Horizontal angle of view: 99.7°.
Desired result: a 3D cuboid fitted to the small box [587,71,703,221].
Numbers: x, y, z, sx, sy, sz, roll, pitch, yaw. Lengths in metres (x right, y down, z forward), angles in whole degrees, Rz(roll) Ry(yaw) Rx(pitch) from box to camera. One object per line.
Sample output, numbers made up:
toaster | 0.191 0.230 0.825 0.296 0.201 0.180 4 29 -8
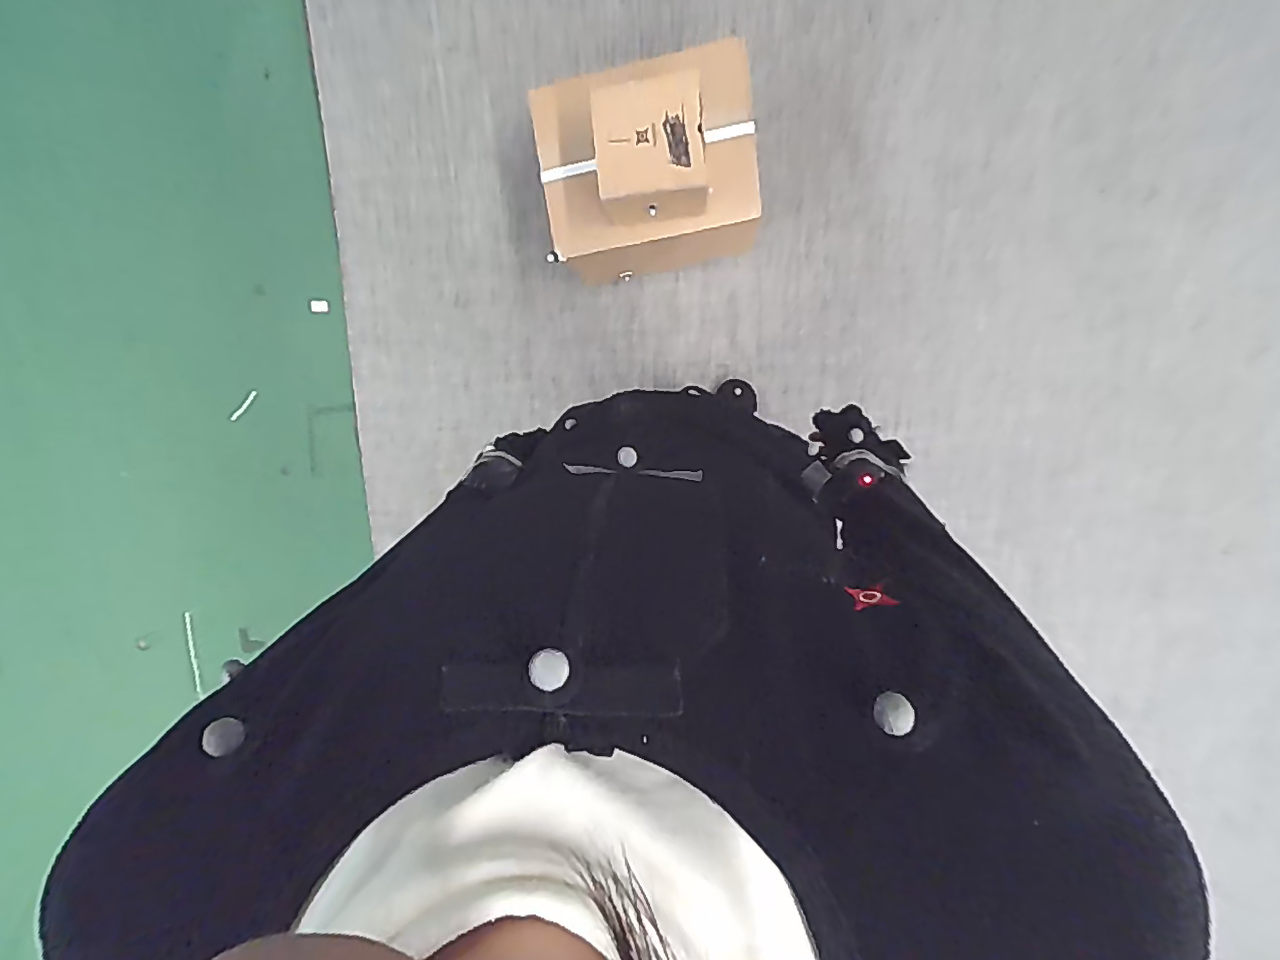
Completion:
small box | 0.017 -0.566 0.941 0.179 0.176 0.168 -4 100 8
